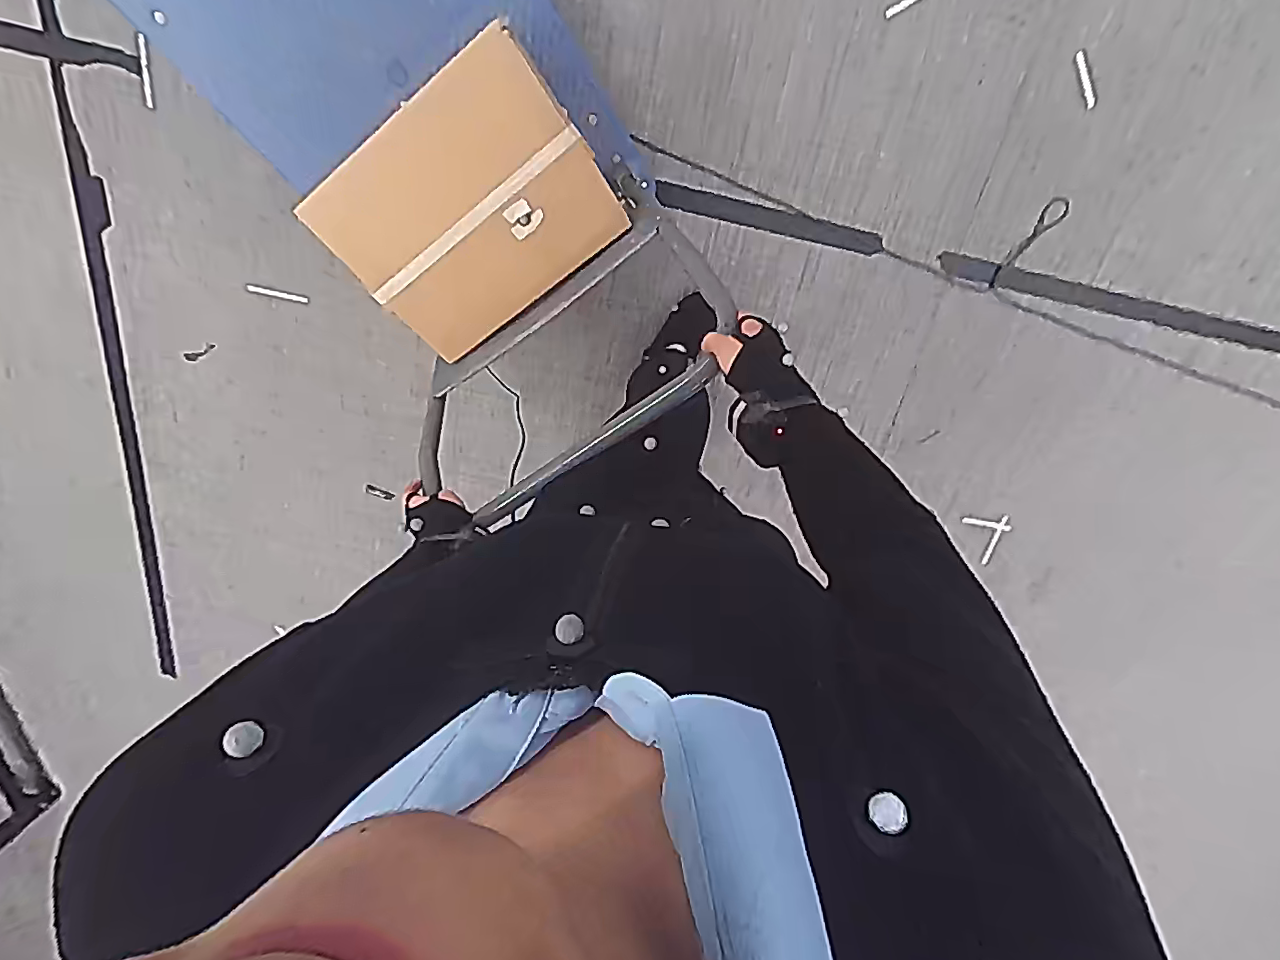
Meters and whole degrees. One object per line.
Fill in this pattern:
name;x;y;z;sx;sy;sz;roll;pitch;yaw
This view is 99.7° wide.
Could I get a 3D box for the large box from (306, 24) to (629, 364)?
large box;-0.284;-0.491;0.962;0.408;0.320;0.320;-33;126;13
